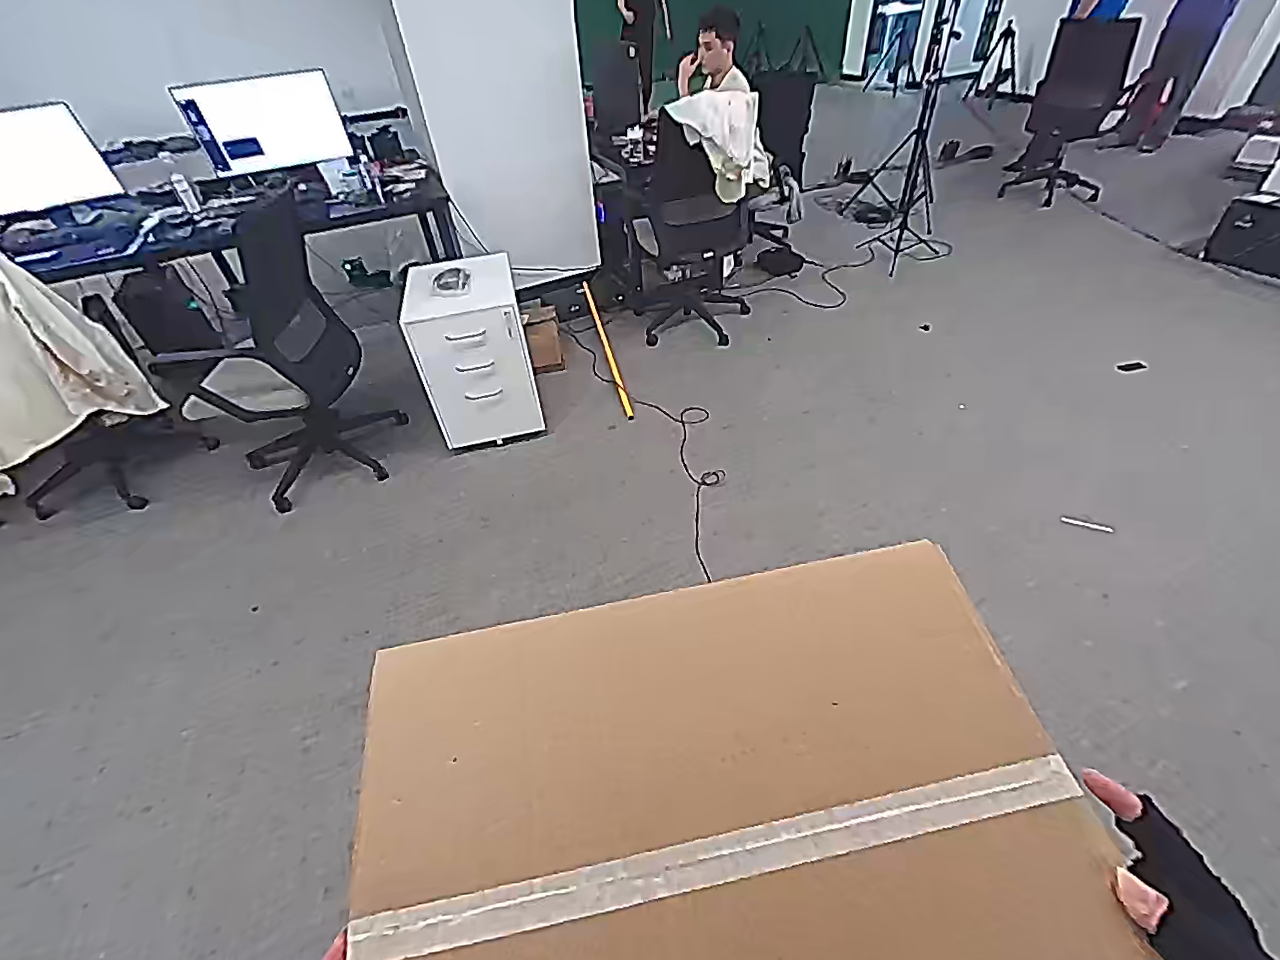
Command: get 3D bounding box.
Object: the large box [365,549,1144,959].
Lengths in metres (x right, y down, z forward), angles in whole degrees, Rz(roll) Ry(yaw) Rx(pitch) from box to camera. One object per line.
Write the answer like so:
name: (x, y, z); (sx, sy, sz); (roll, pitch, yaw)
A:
large box: (0.055, 0.295, 0.431); (0.408, 0.320, 0.320); (-11, 55, -3)
